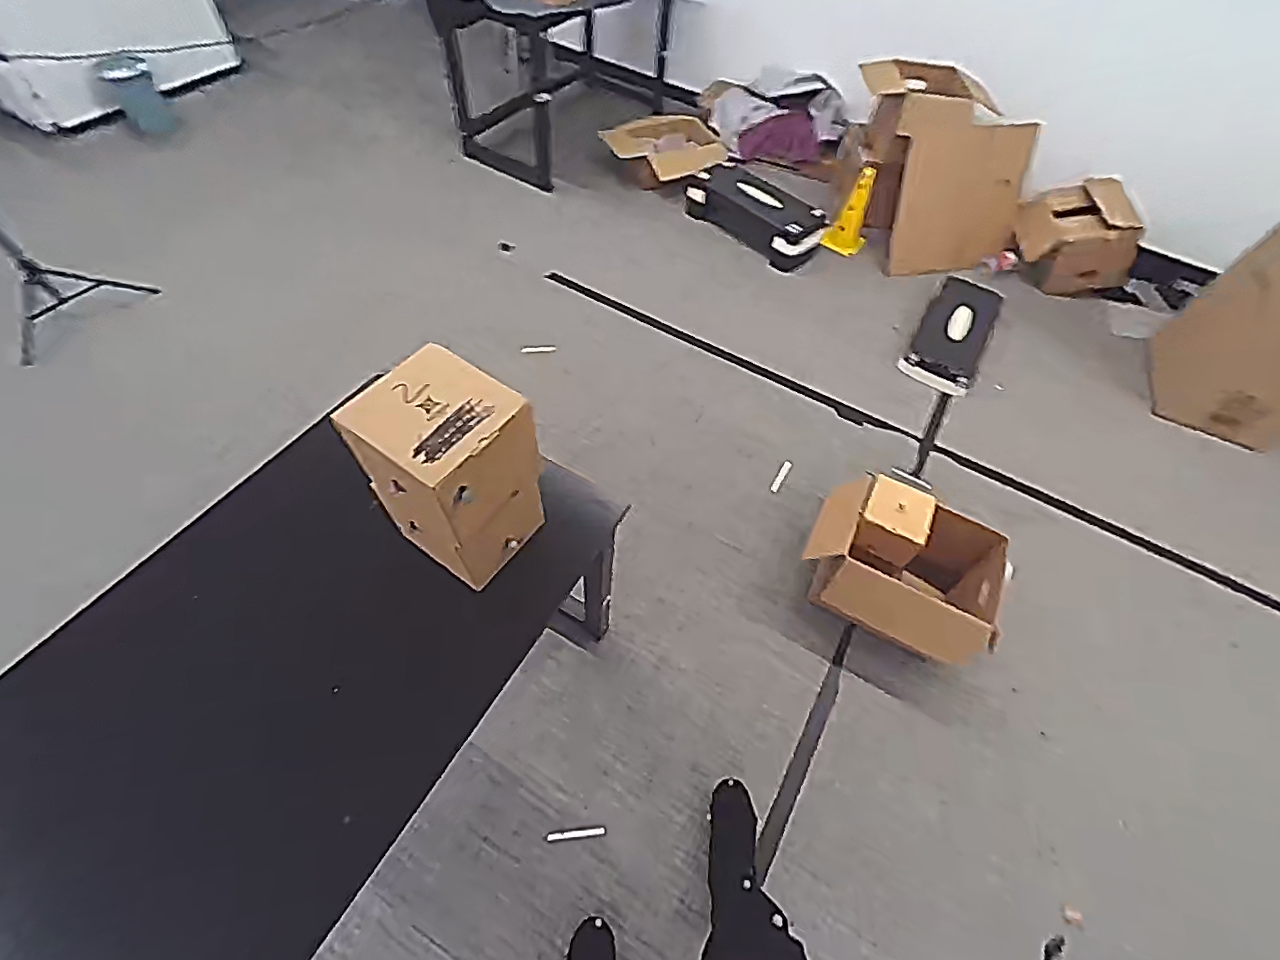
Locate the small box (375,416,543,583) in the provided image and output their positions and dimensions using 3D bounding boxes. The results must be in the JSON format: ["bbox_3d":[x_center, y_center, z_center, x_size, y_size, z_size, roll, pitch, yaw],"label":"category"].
[{"bbox_3d":[-0.277,0.037,0.866,0.179,0.176,0.168,33,61,16],"label":"small box"}]
